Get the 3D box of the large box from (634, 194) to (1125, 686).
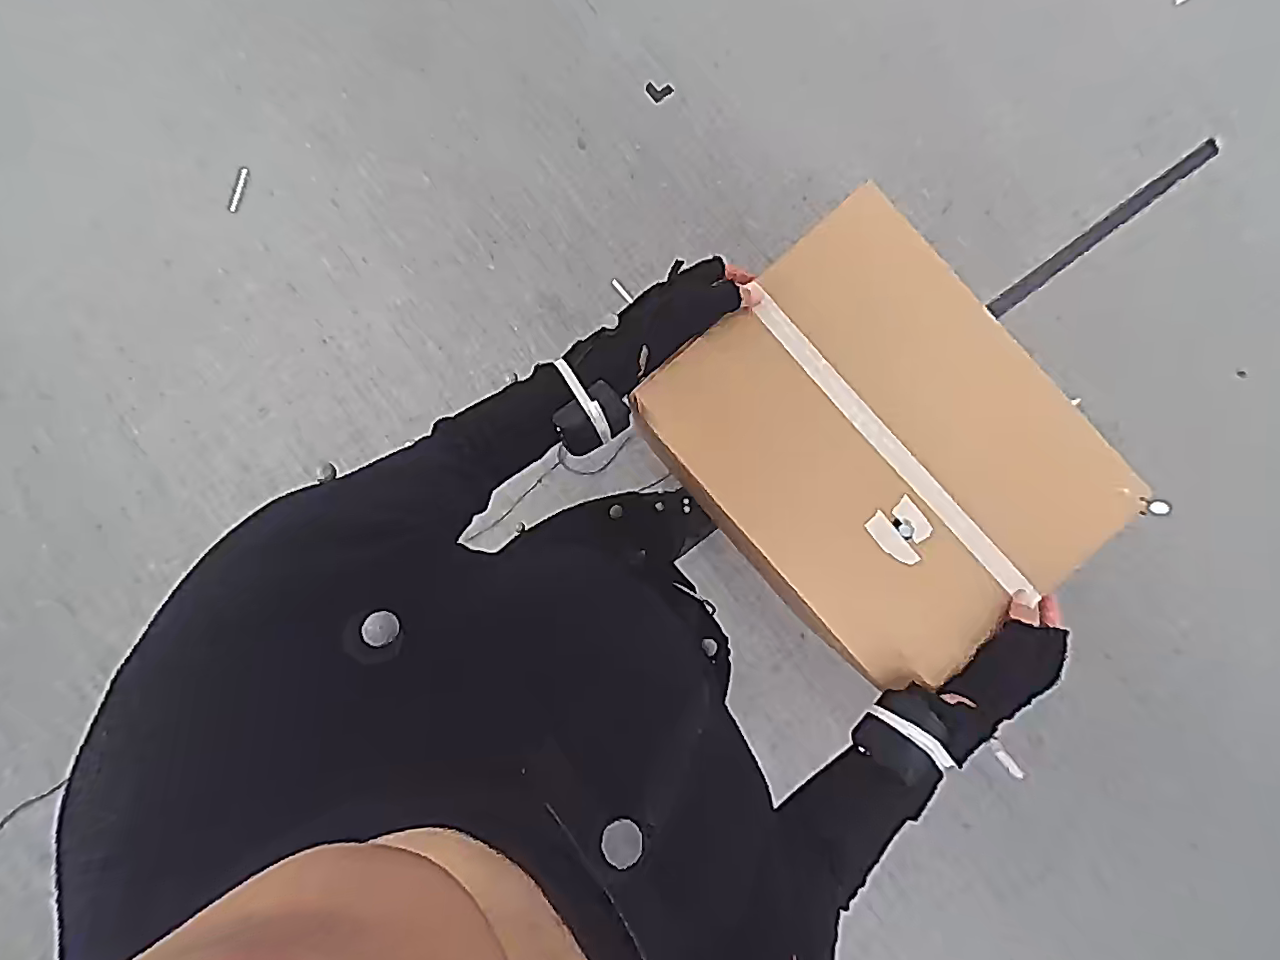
[{"bbox_3d":[0.234,-0.040,0.680,0.320,0.320,0.408,-42,90,1],"label":"large box"}]
